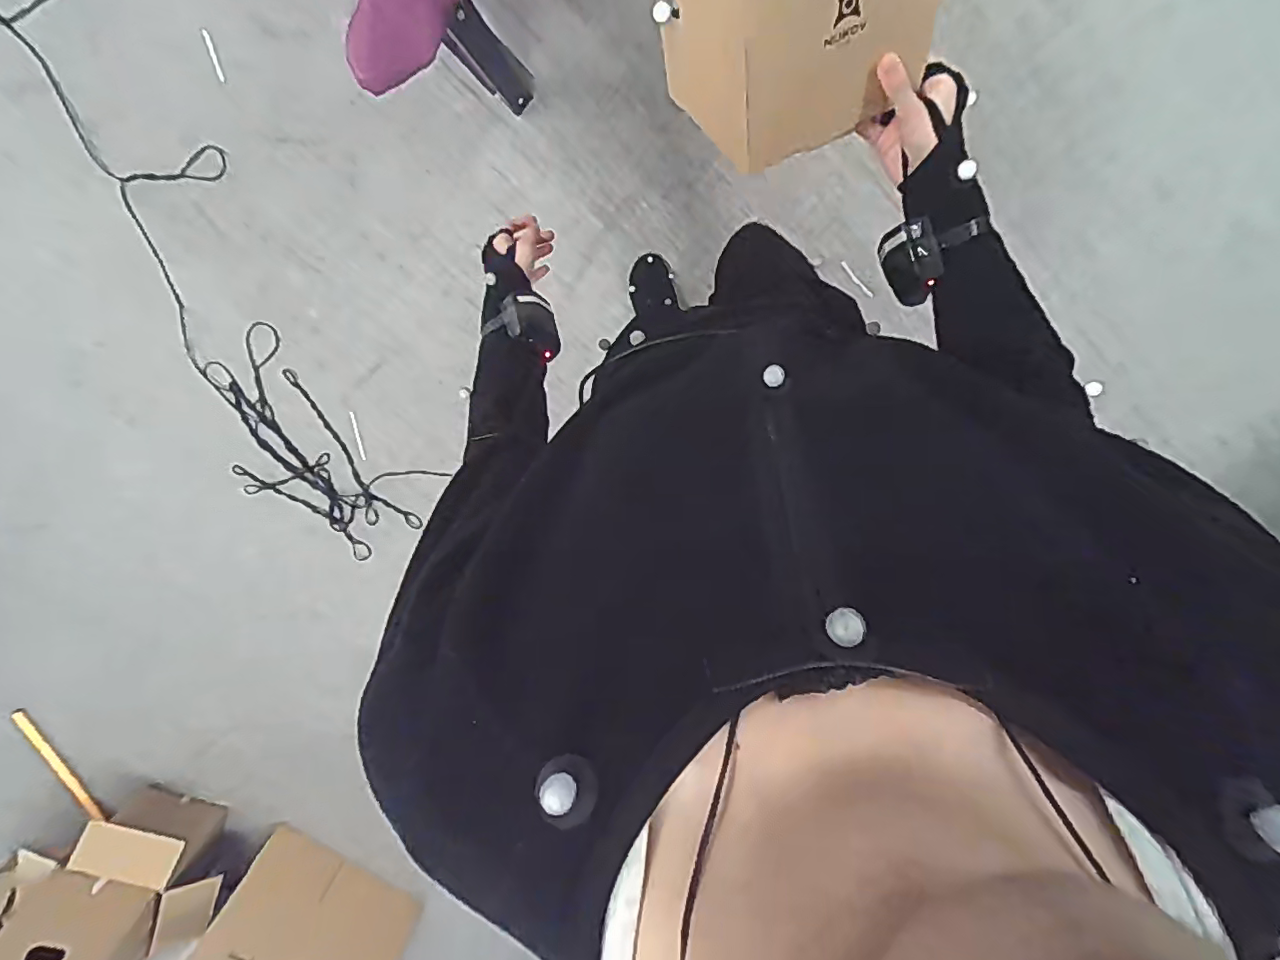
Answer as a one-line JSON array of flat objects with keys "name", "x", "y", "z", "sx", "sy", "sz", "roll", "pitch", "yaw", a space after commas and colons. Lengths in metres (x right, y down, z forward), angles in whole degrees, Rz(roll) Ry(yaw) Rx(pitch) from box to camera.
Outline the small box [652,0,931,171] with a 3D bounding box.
[{"name": "small box", "x": 0.112, "y": -0.400, "z": 0.432, "sx": 0.168, "sy": 0.176, "sz": 0.179, "roll": -26, "pitch": 150, "yaw": -1}]
